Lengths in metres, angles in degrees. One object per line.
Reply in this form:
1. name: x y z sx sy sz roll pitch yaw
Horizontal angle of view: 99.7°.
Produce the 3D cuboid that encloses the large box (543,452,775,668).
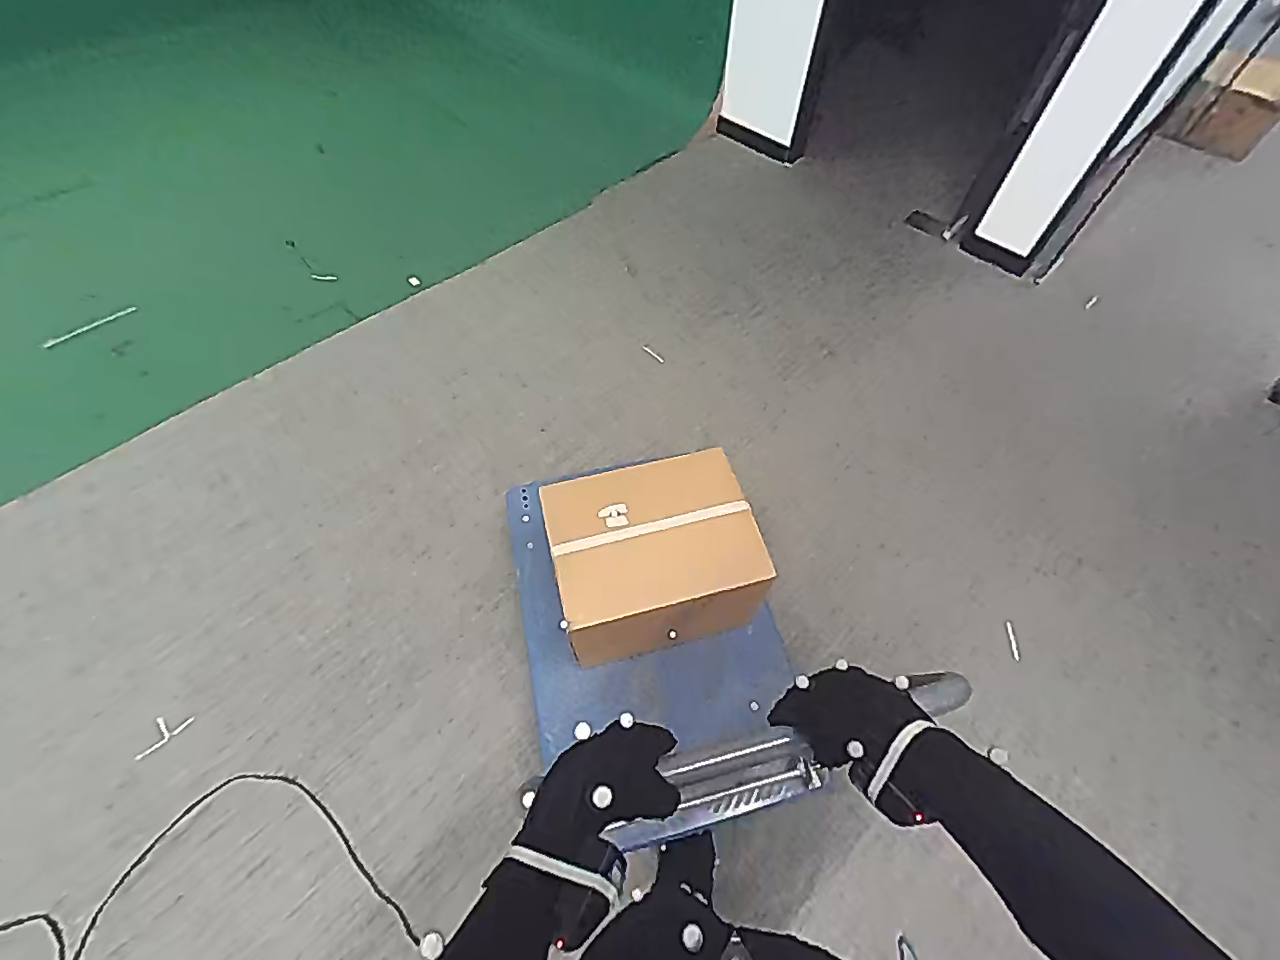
1. large box: 0.029 0.185 1.203 0.408 0.320 0.320 -14 59 -8
